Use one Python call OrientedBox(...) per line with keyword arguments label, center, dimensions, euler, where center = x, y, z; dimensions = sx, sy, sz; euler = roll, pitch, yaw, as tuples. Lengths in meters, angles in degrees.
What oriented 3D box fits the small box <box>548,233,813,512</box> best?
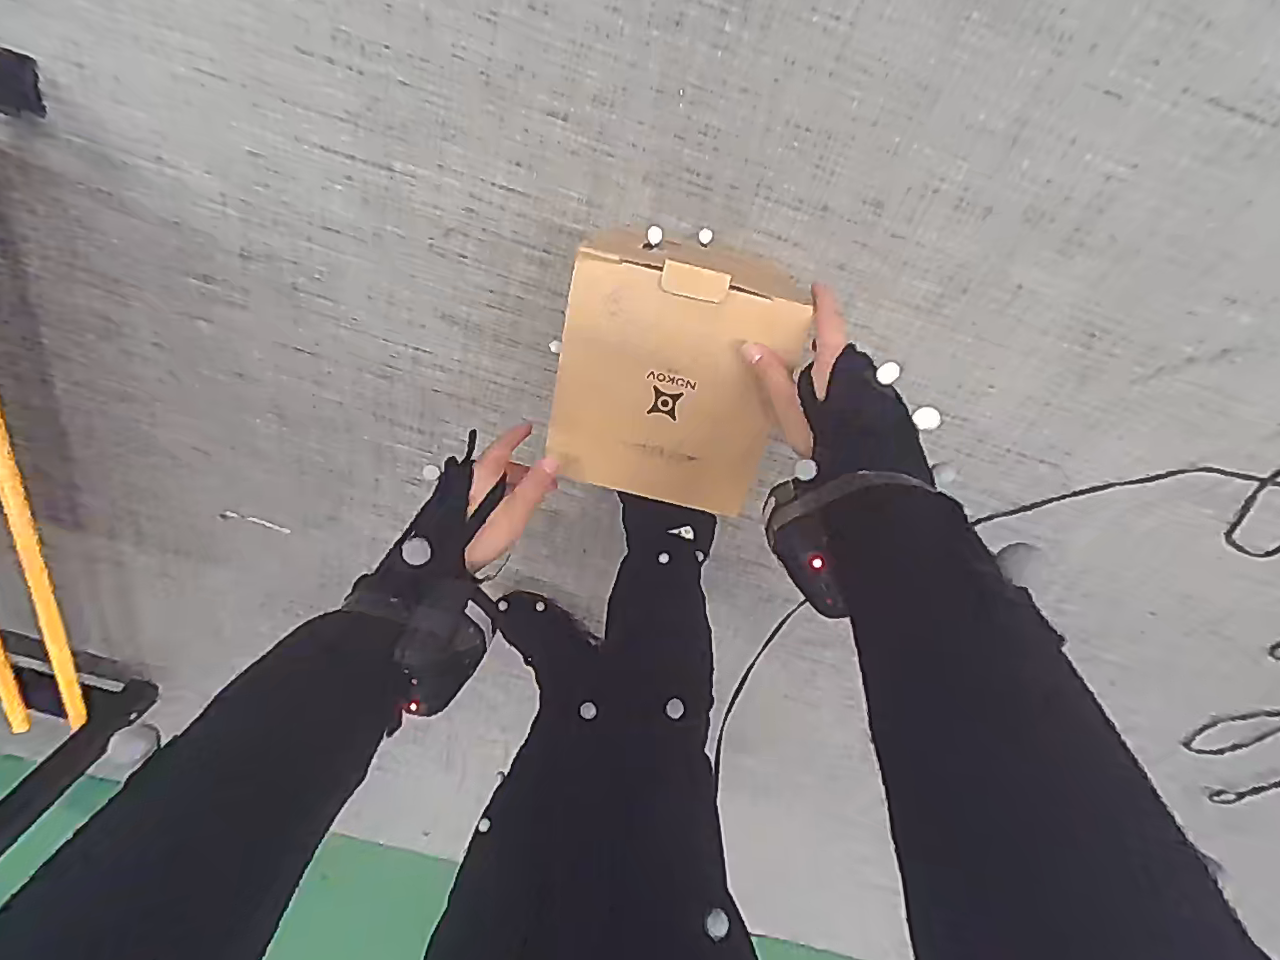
OrientedBox(label="small box", center=(0.028, -0.102, 0.471), dimensions=(0.168, 0.176, 0.179), euler=(13, 121, -1))
